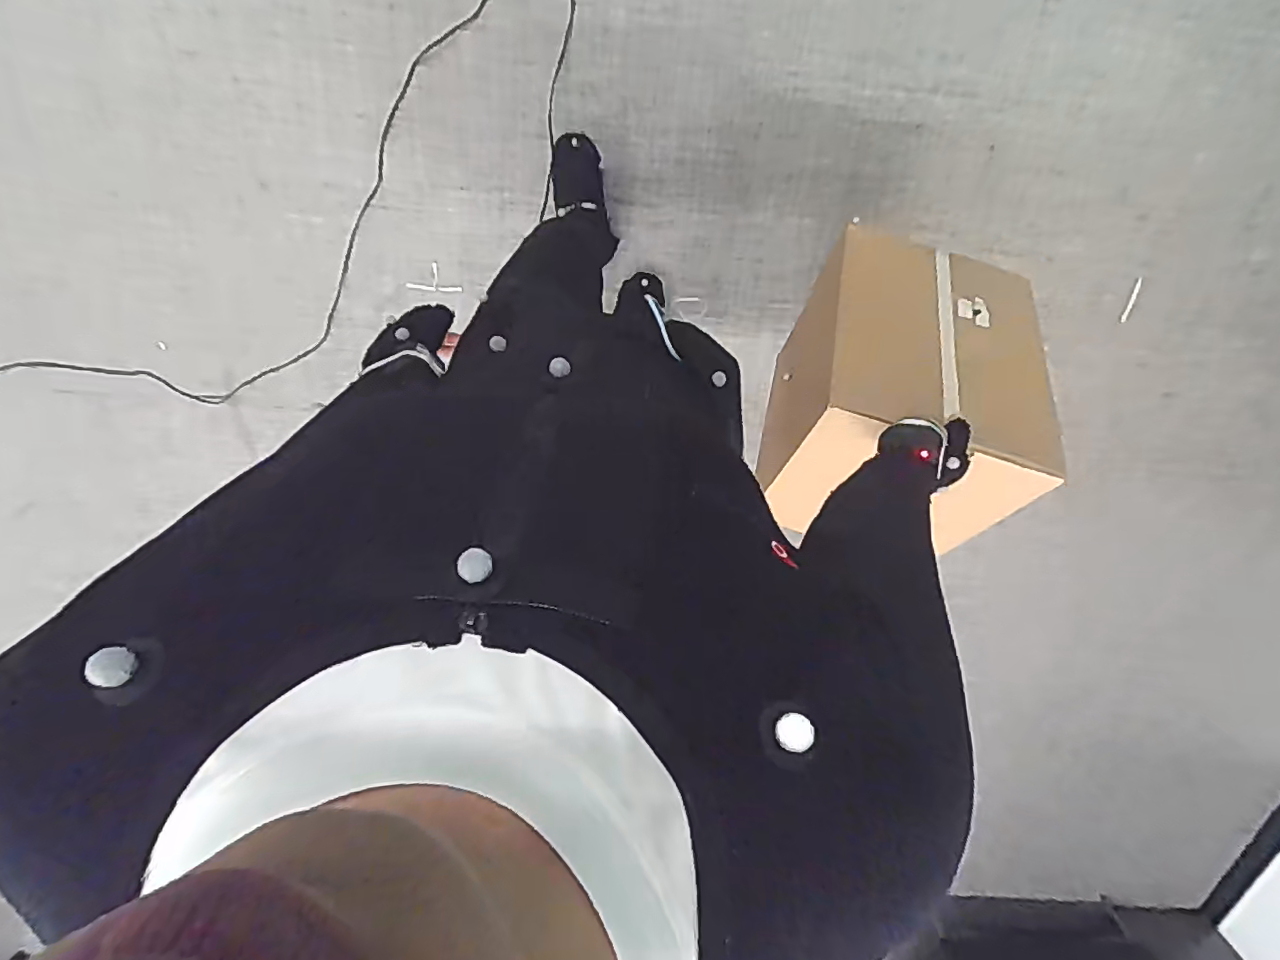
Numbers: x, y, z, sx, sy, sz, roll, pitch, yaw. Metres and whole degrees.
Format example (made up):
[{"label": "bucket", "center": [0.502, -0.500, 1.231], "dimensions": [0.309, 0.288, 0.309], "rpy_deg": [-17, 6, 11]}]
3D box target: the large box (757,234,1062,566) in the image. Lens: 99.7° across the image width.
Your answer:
[{"label": "large box", "center": [0.410, -0.125, 0.907], "dimensions": [0.320, 0.408, 0.320], "rpy_deg": [18, 148, -1]}]
